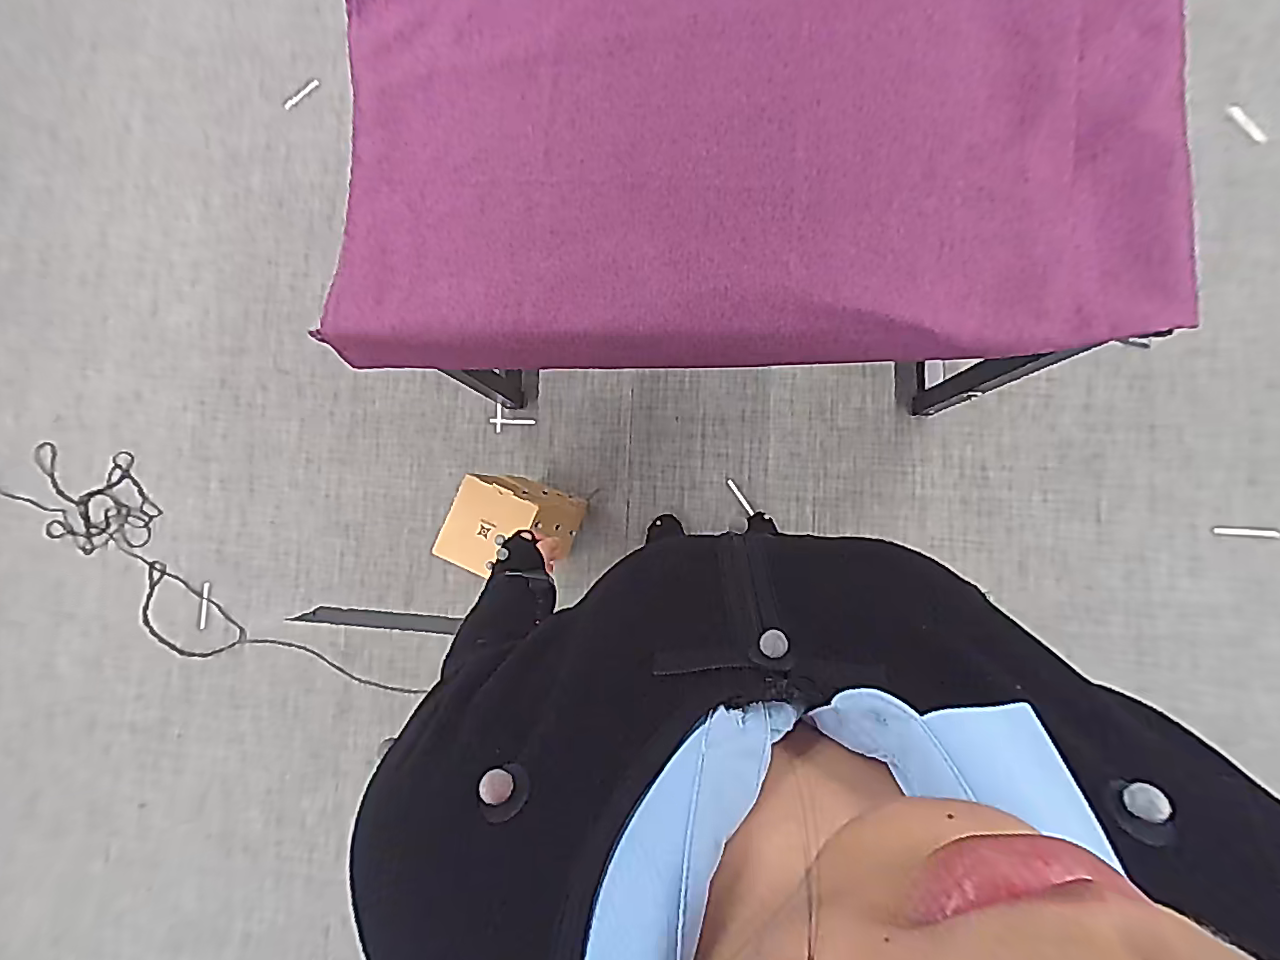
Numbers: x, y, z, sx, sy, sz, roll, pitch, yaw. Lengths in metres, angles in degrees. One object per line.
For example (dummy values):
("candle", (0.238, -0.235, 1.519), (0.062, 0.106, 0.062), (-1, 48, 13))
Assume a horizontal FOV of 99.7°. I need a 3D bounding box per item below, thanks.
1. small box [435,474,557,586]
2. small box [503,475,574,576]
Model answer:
("small box", (-0.292, 0.102, 1.139), (0.168, 0.176, 0.179), (23, 89, 6))
("small box", (-0.274, 0.106, 1.301), (0.168, 0.176, 0.179), (30, 91, 6))
